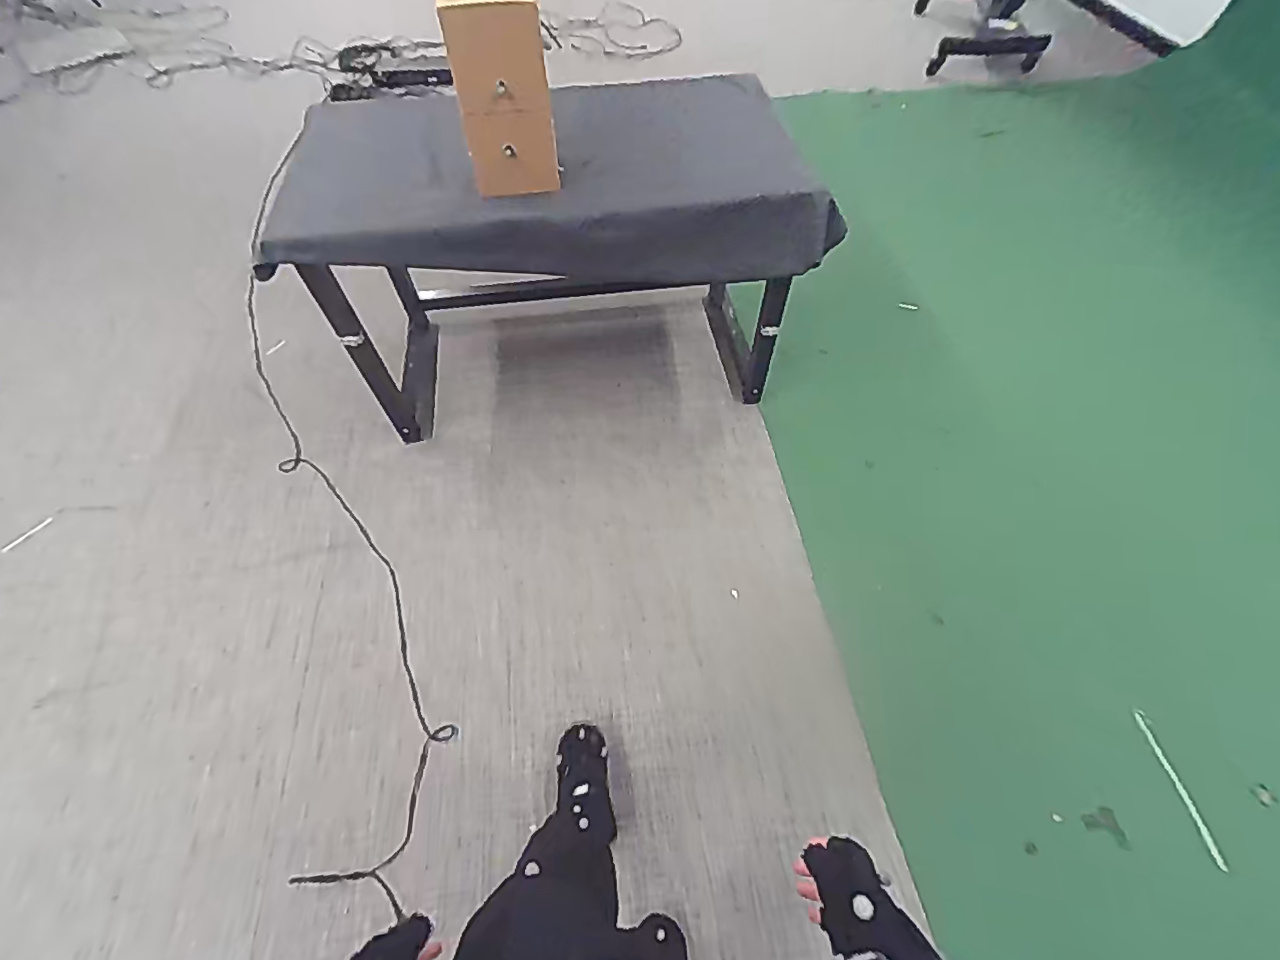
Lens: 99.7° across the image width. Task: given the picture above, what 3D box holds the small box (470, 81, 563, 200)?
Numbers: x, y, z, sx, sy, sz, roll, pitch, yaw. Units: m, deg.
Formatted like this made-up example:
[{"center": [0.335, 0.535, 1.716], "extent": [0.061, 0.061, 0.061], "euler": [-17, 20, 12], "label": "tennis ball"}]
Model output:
[{"center": [-0.265, -0.739, 1.178], "extent": [0.179, 0.176, 0.168], "euler": [-8, 58, -7], "label": "small box"}]

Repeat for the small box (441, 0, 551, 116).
[{"center": [-0.268, -0.831, 1.043], "extent": [0.179, 0.176, 0.168], "euler": [-6, 57, -4], "label": "small box"}]
